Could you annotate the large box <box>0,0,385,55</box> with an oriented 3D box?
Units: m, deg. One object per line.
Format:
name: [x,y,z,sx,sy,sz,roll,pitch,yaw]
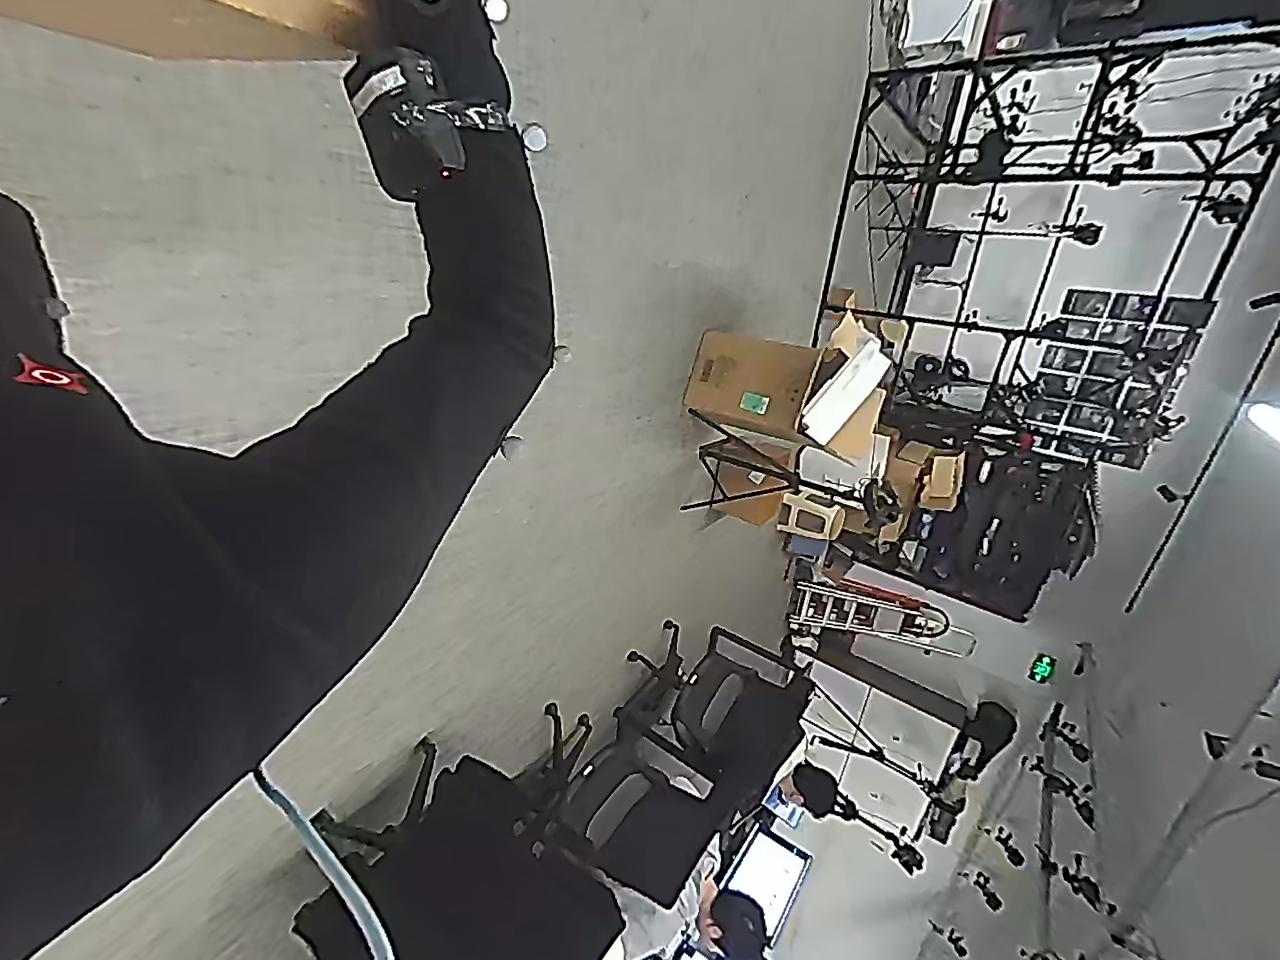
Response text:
large box: [-0.369,-0.391,0.182,0.408,0.320,0.320,-30,137,-53]
